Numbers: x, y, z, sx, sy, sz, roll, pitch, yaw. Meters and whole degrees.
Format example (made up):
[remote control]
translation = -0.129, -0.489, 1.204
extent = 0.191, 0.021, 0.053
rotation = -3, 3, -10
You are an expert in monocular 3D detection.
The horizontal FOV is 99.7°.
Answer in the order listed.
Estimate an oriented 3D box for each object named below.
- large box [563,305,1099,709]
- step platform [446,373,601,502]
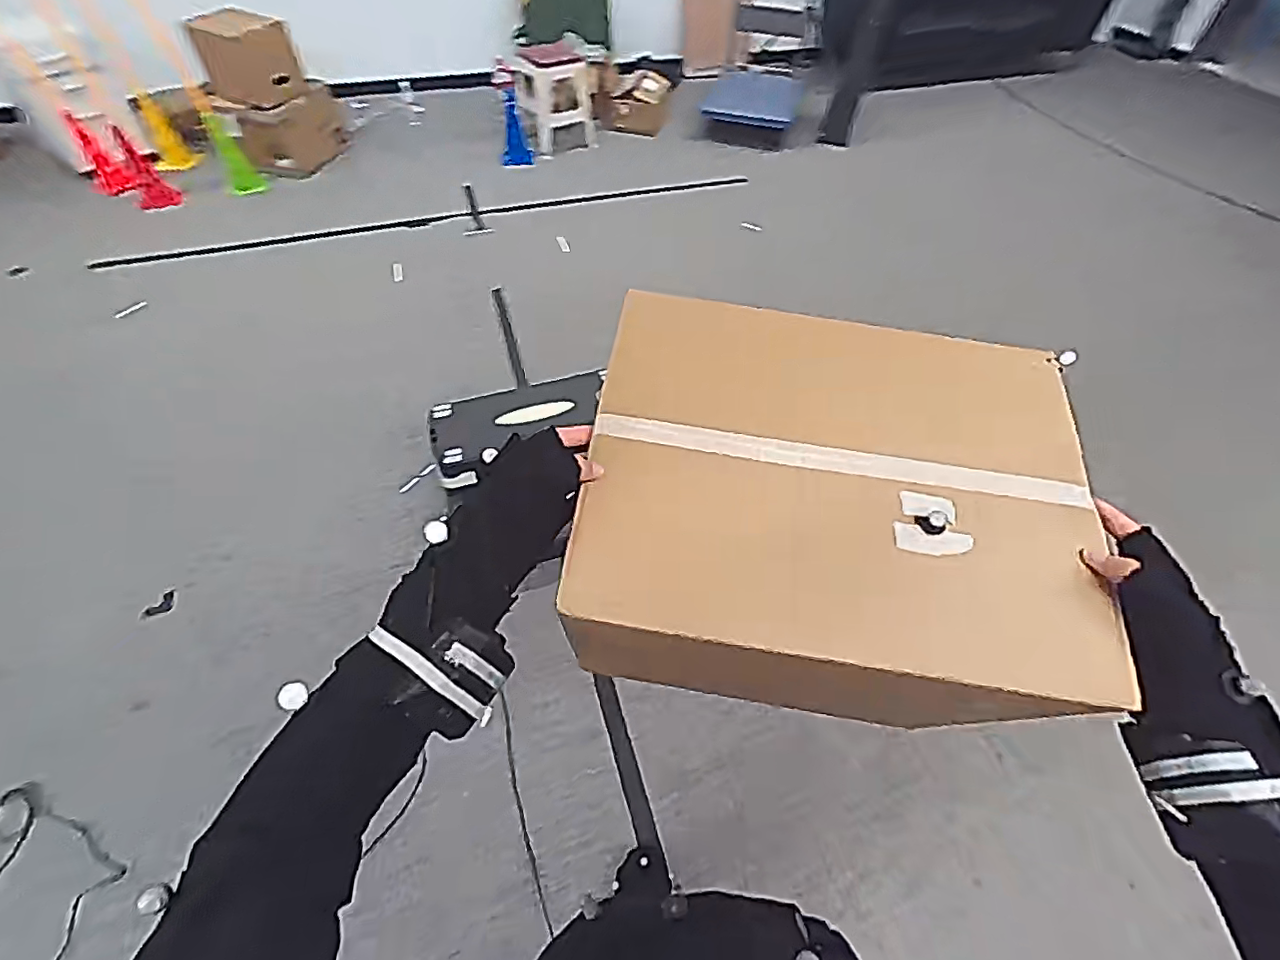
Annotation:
[large box]
translation = 0.146, 0.053, 0.591
extent = 0.408, 0.320, 0.320
rotation = 8, 64, 0
[step platform]
translation = -0.300, -0.168, 1.842
extent = 0.684, 0.204, 0.286
rotation = -16, 55, -15
